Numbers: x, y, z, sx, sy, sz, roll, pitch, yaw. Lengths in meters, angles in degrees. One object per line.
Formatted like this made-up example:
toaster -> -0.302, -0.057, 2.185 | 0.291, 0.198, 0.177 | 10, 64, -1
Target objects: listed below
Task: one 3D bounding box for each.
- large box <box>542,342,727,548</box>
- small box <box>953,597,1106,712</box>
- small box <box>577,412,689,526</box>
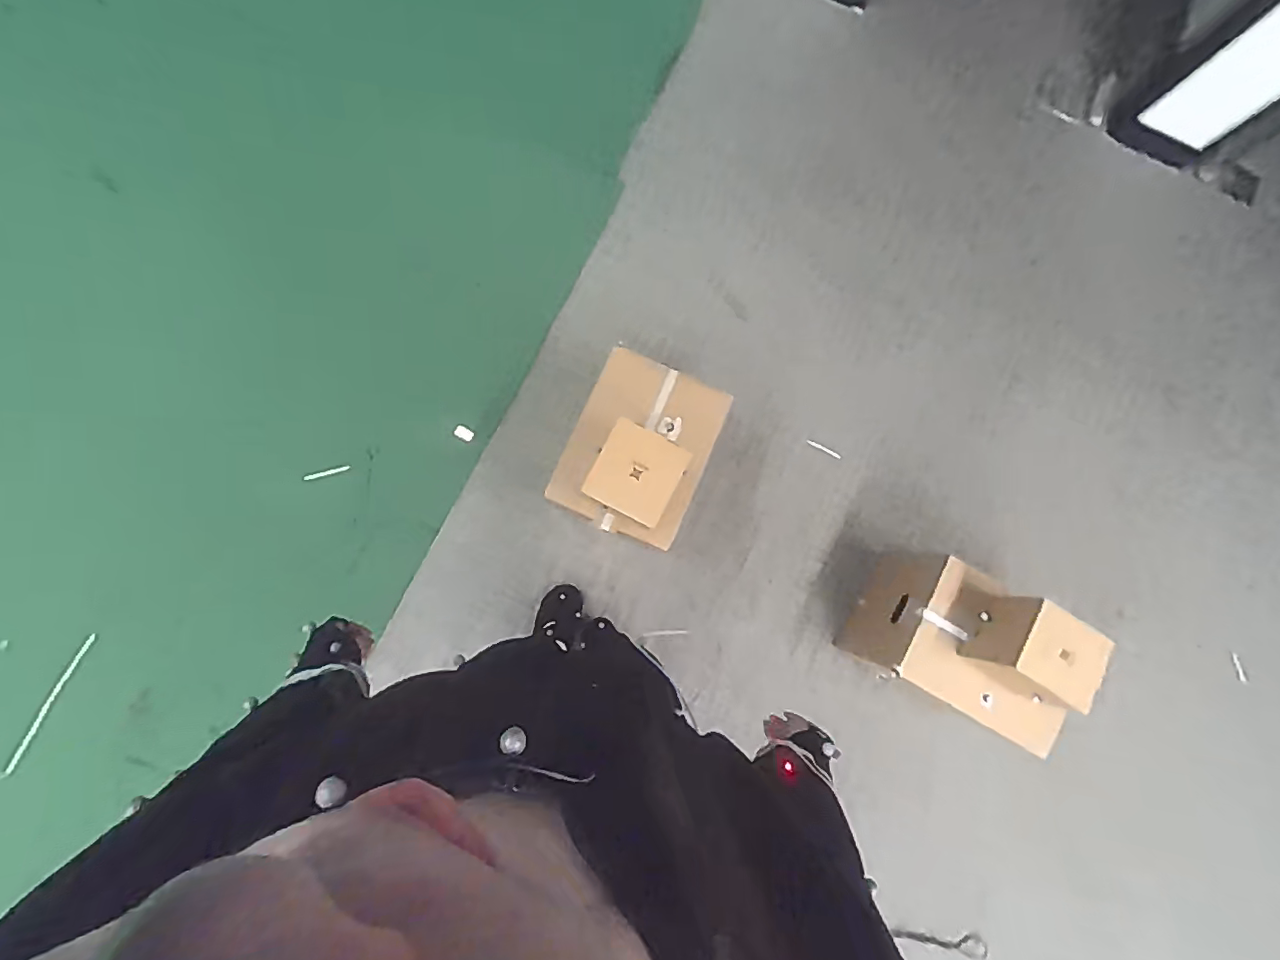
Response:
large box -> -0.019, -0.066, 1.395 | 0.320, 0.320, 0.408 | 25, 80, -2
small box -> 0.836, 0.365, 1.173 | 0.179, 0.176, 0.168 | 34, 78, 0
small box -> -0.019, -0.013, 1.140 | 0.168, 0.176, 0.179 | 28, 80, -2
